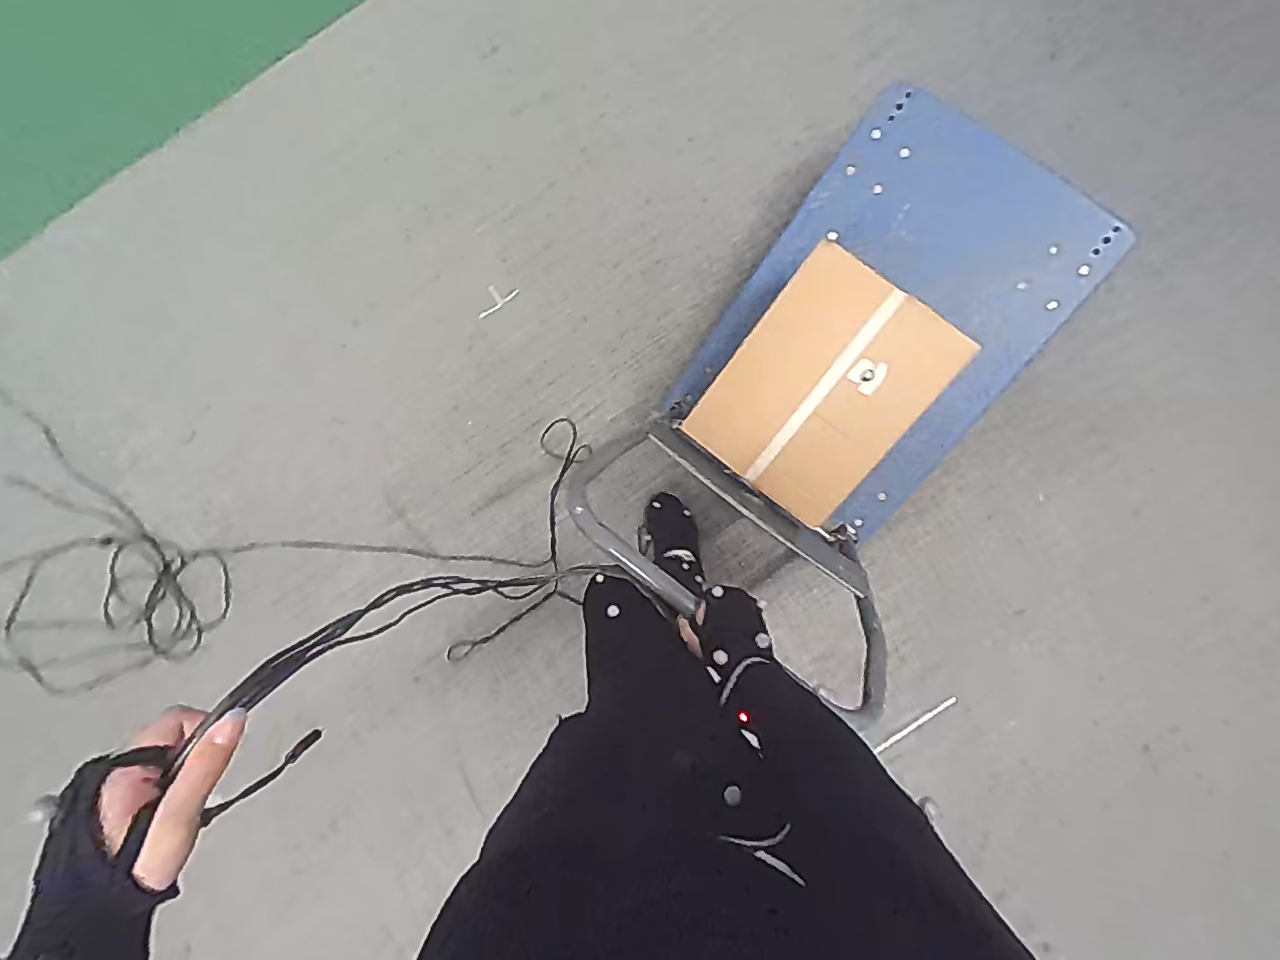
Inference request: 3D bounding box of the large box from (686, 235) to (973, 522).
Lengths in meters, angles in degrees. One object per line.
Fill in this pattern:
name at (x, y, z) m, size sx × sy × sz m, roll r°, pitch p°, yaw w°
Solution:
large box at (0.348, -0.187, 1.085) m, size 0.320 × 0.320 × 0.408 m, roll 39°, pitch 106°, yaw 5°
